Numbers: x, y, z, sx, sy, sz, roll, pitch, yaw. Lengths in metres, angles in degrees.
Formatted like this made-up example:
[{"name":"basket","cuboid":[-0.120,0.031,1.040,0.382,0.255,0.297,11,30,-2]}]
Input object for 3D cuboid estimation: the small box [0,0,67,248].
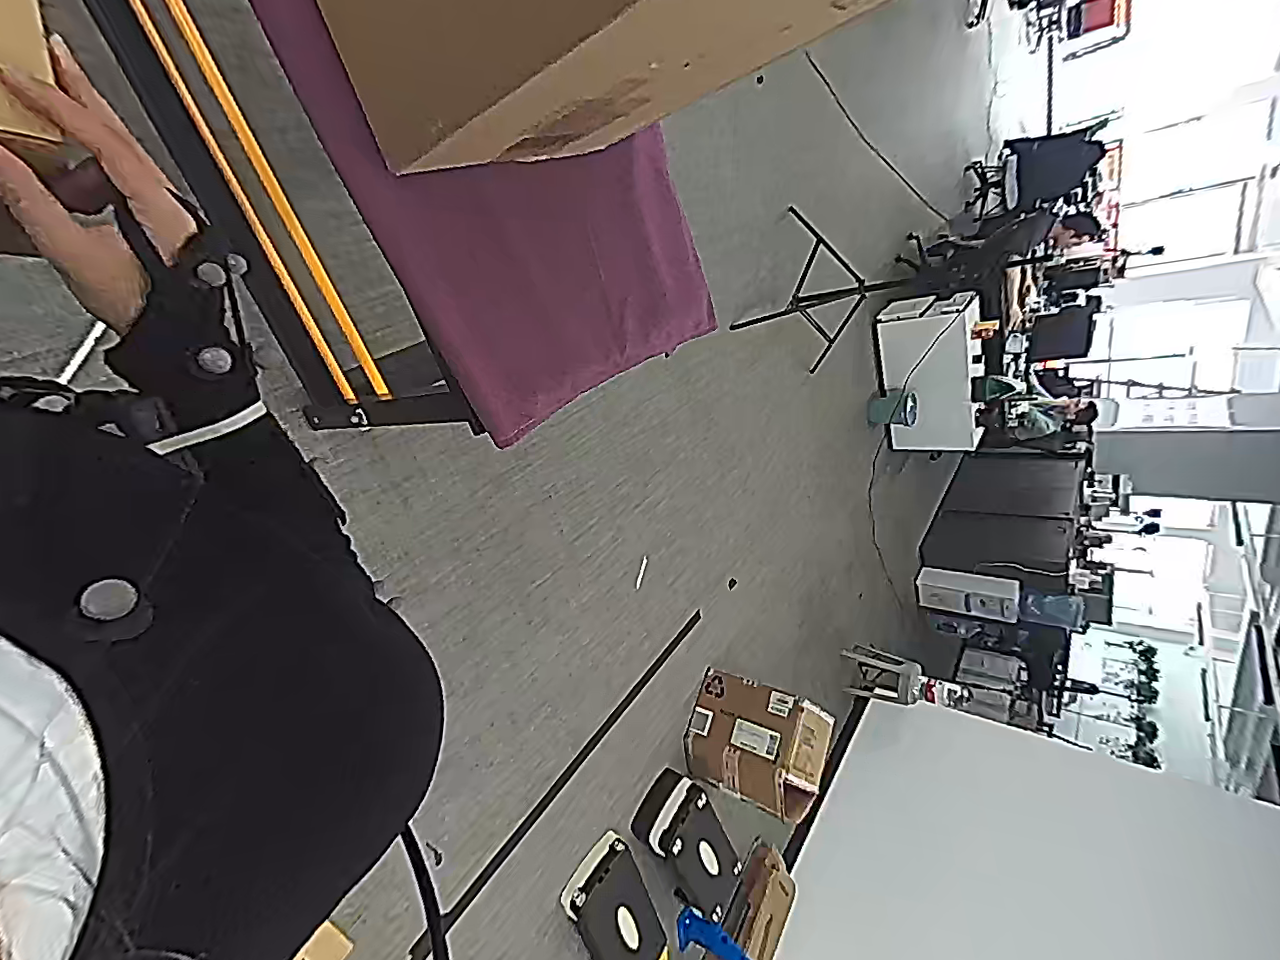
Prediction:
[{"name":"small box","cuboid":[-0.410,-0.229,0.257,0.179,0.176,0.168,-11,94,-44]}]
